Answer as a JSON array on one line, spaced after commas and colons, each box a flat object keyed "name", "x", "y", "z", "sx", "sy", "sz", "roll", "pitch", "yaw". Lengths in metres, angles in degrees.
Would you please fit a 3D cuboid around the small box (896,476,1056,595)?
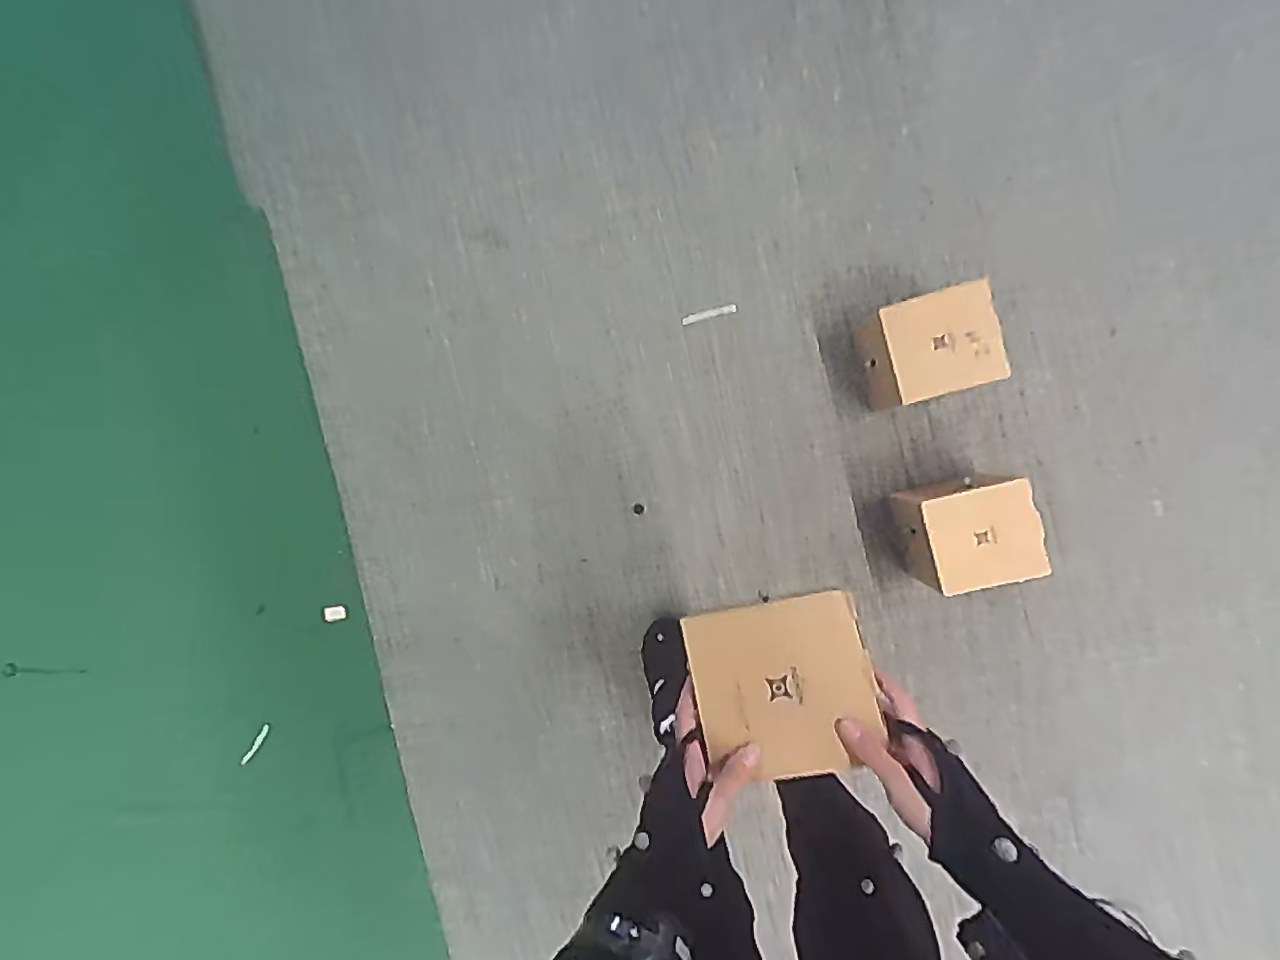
[{"name": "small box", "x": 0.577, "y": 0.091, "z": 0.959, "sx": 0.179, "sy": 0.176, "sz": 0.168, "roll": -15, "pitch": 90, "yaw": 6}]

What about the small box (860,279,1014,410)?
[{"name": "small box", "x": 0.506, "y": -0.226, "z": 0.952, "sx": 0.179, "sy": 0.176, "sz": 0.168, "roll": -14, "pitch": 91, "yaw": 7}]

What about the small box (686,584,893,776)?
[{"name": "small box", "x": 0.156, "y": 0.211, "z": 0.612, "sx": 0.179, "sy": 0.176, "sz": 0.168, "roll": -12, "pitch": 77, "yaw": 8}]
